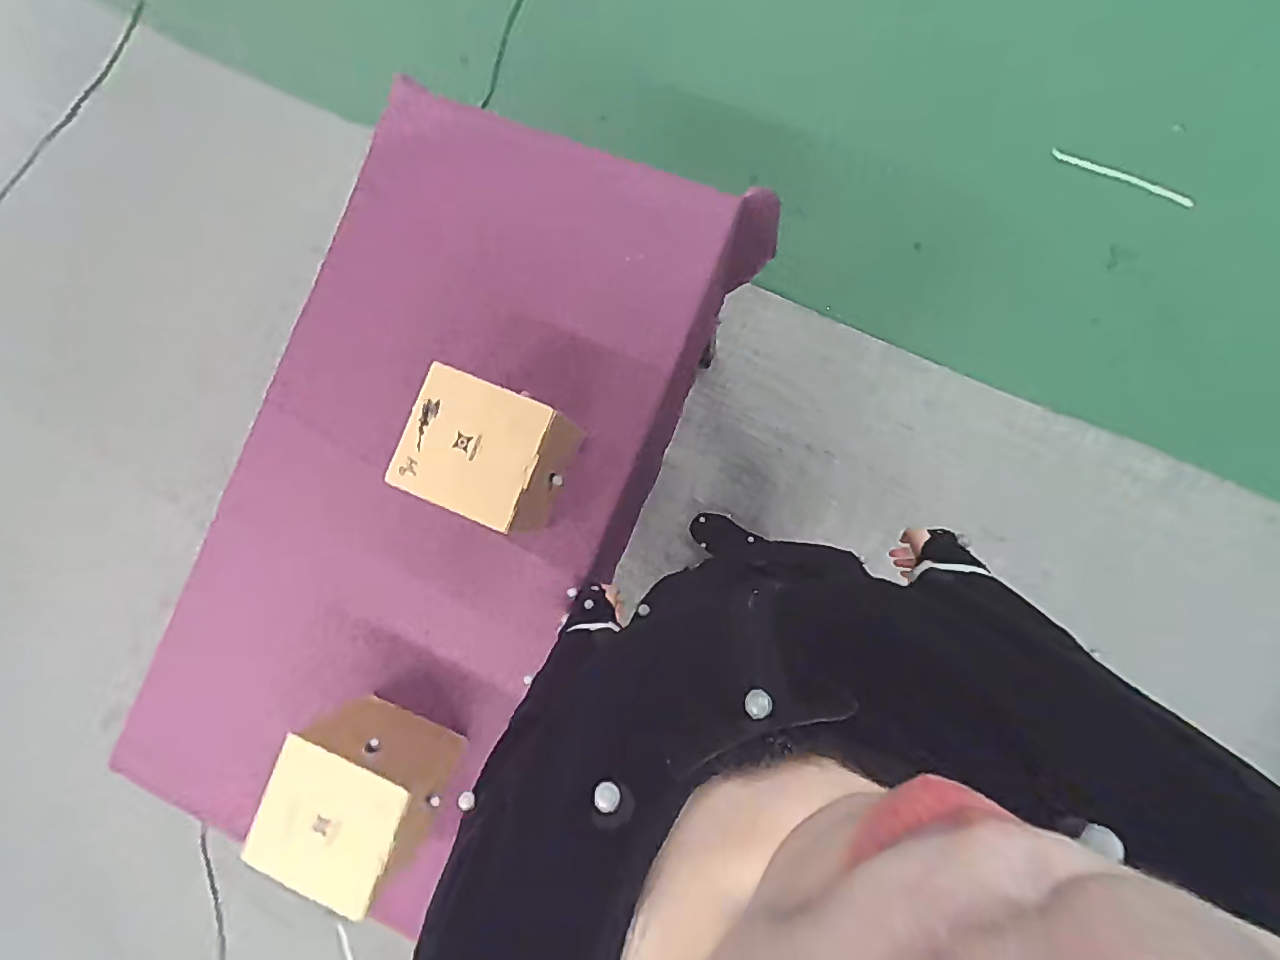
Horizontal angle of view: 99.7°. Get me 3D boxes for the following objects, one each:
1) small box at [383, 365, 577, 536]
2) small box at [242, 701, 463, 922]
[{"bbox_3d":[-0.204,-0.034,0.745,0.179,0.176,0.168,22,89,7],"label":"small box"},{"bbox_3d":[-0.370,0.426,0.732,0.179,0.176,0.168,20,87,8],"label":"small box"}]
